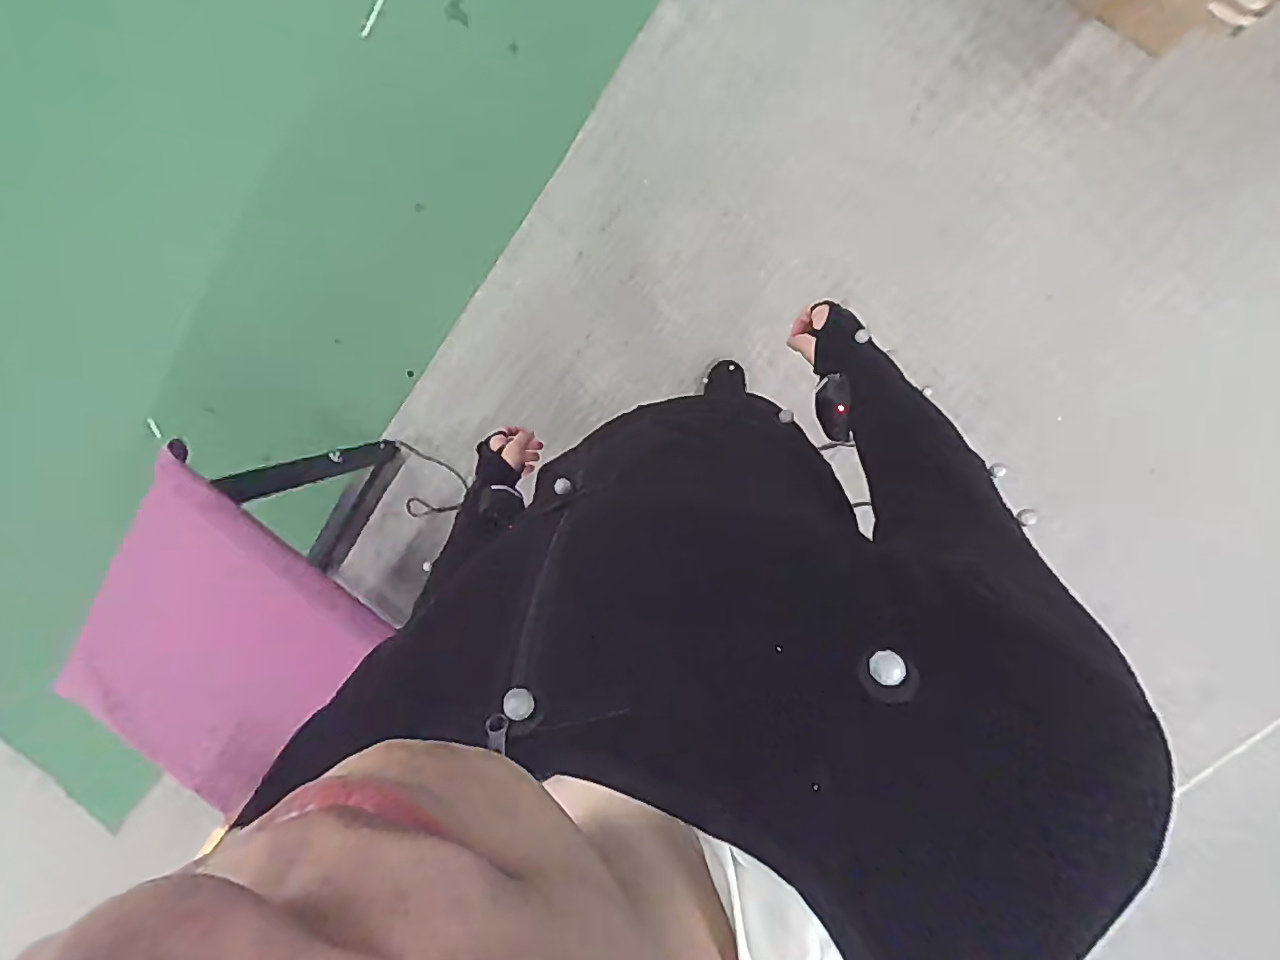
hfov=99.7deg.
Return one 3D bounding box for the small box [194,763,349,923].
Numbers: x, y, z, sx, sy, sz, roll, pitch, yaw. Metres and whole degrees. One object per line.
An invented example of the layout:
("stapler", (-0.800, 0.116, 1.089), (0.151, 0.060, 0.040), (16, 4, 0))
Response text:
("small box", (-0.728, 0.719, 1.091), (0.168, 0.176, 0.179), (38, 106, 1))
